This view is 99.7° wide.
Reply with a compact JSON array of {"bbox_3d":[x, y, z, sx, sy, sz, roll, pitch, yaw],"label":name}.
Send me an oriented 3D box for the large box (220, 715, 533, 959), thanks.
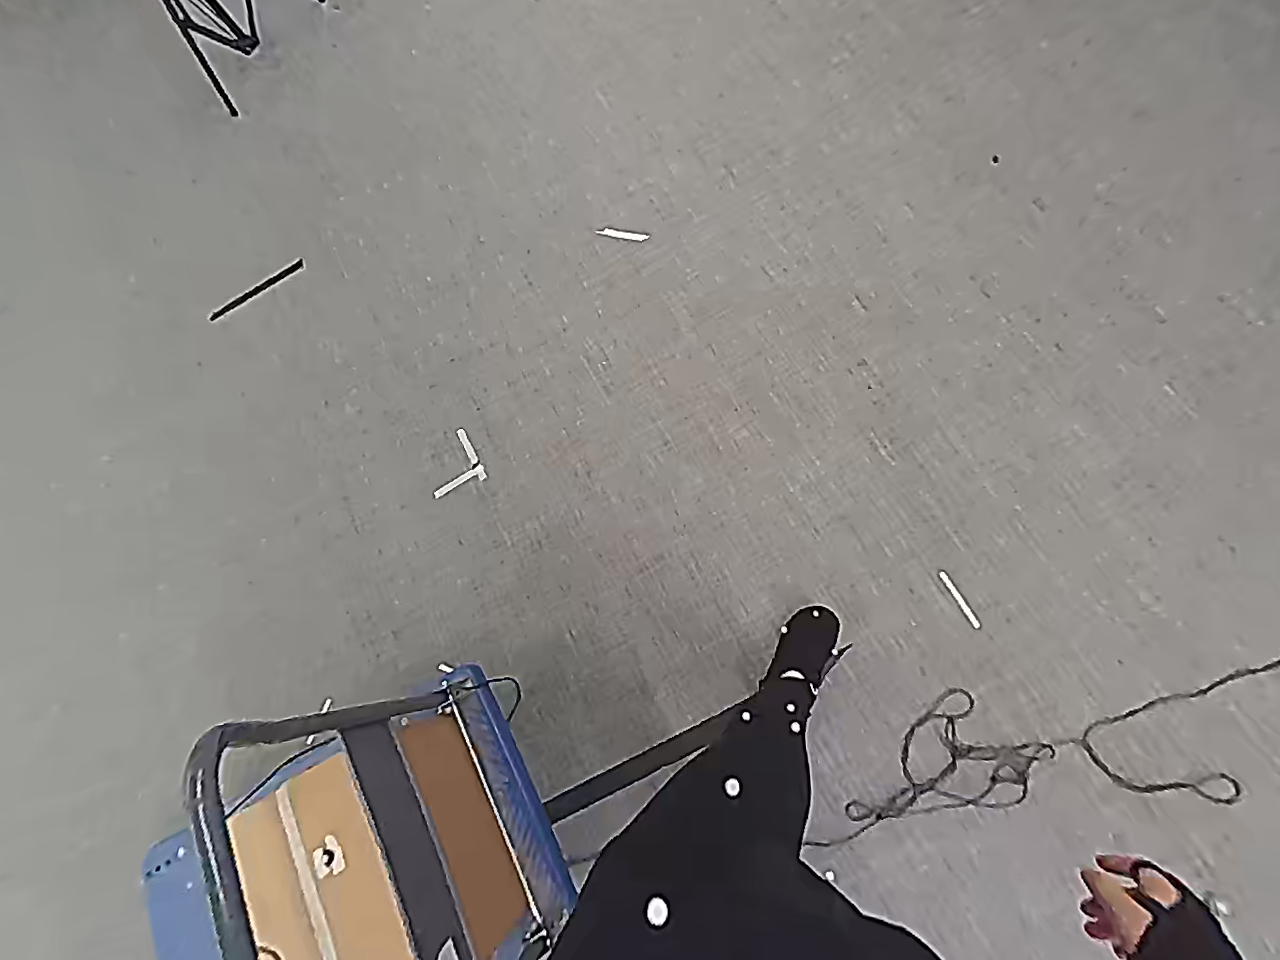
[{"bbox_3d":[-0.457,0.713,0.988,0.320,0.320,0.408,-31,71,0],"label":"large box"}]
